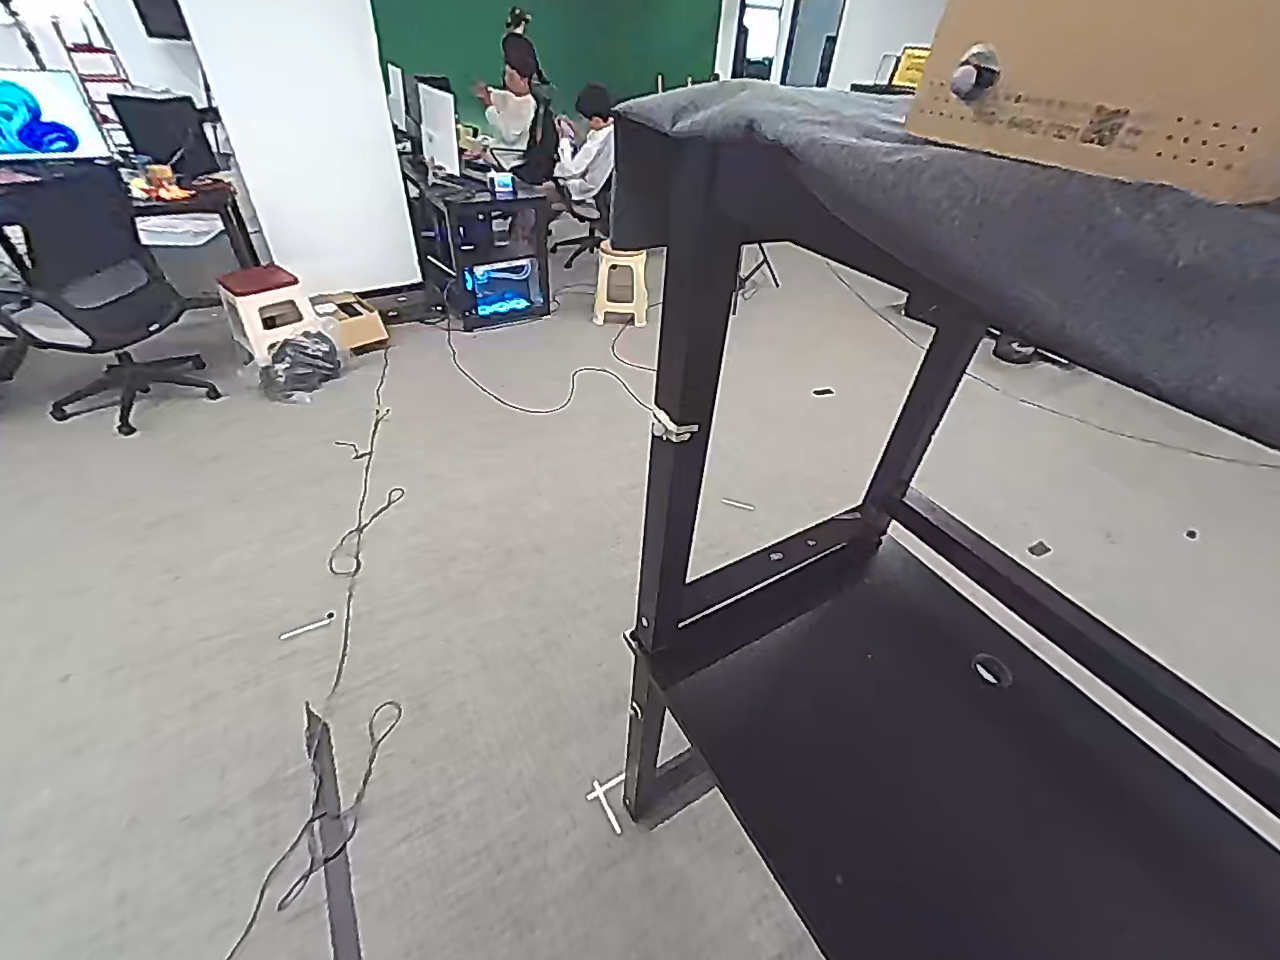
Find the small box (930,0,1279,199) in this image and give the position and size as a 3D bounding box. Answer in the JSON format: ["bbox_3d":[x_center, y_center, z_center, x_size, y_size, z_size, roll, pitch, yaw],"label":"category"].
[{"bbox_3d":[0.278,-0.246,0.262,0.179,0.176,0.168,-19,46,-29],"label":"small box"}]
